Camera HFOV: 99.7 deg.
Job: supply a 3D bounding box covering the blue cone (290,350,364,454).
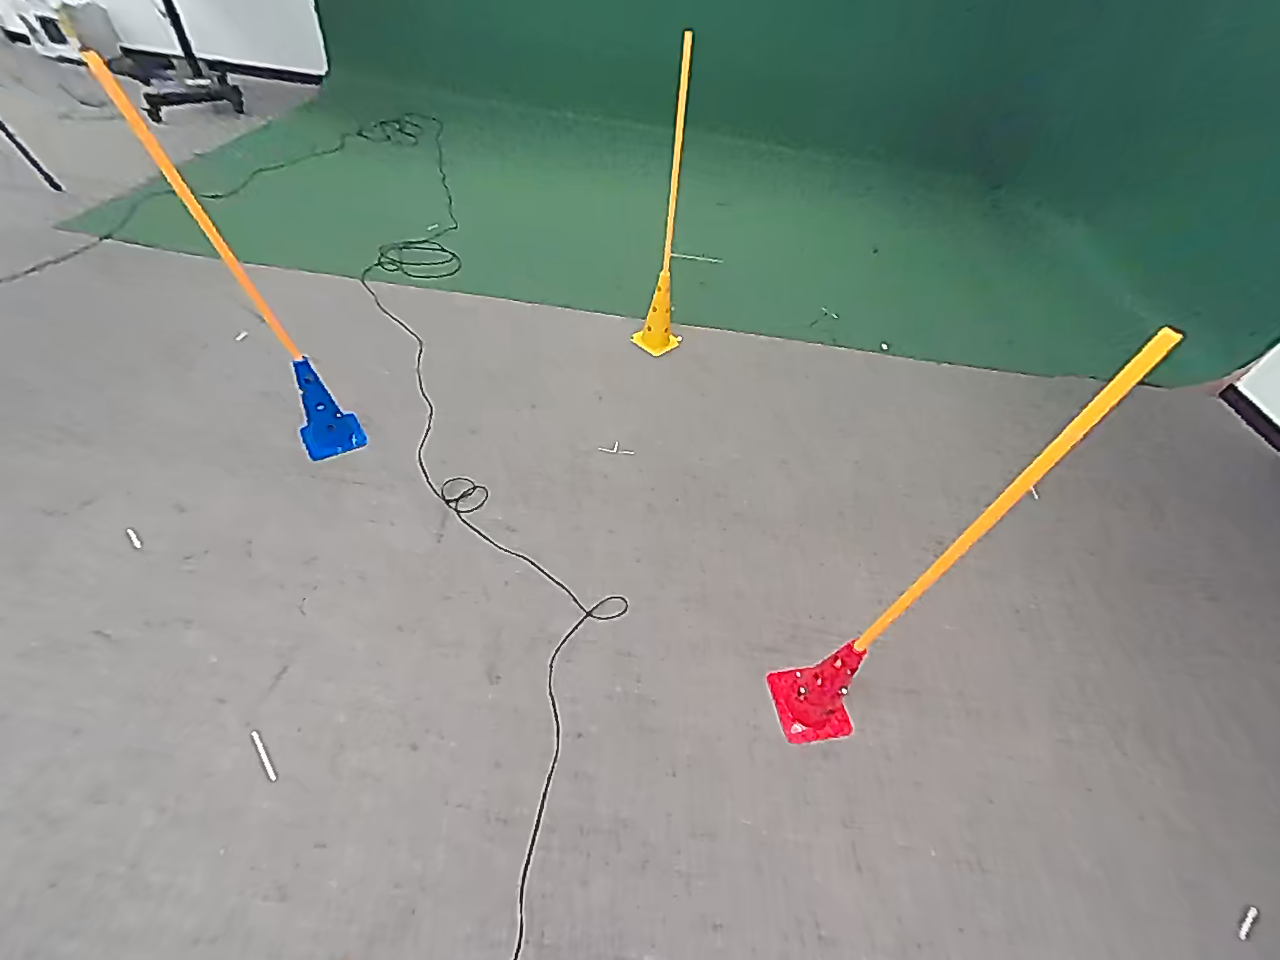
[{"bbox_3d":[-1.129,-0.284,1.887,0.193,0.380,0.192,-26,57,-26],"label":"blue cone"}]
